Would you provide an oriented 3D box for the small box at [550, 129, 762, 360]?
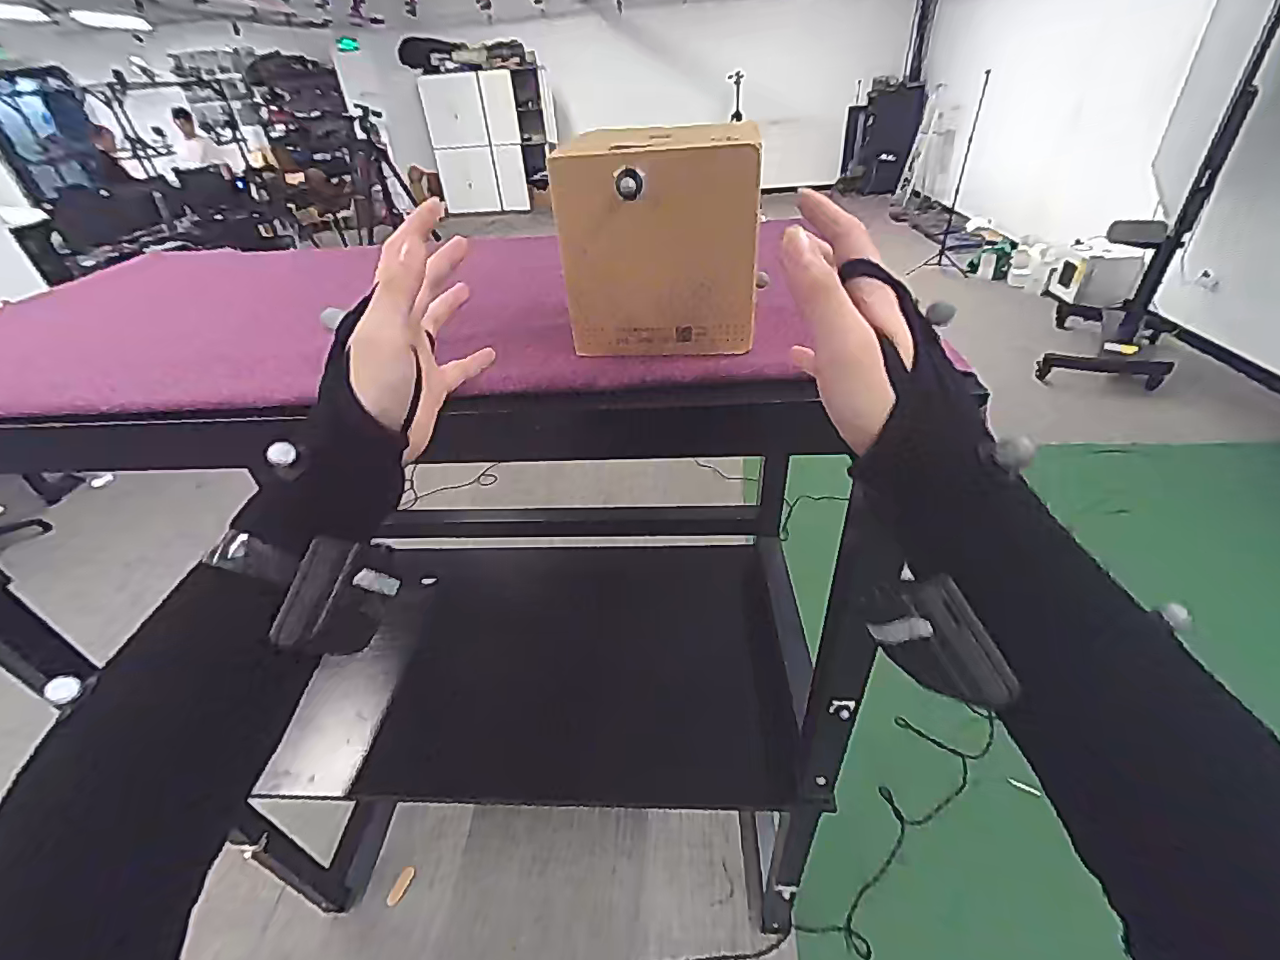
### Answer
[{"bbox_3d":[0.027,-0.227,0.520,0.168,0.176,0.179,0,37,9],"label":"small box"}]
